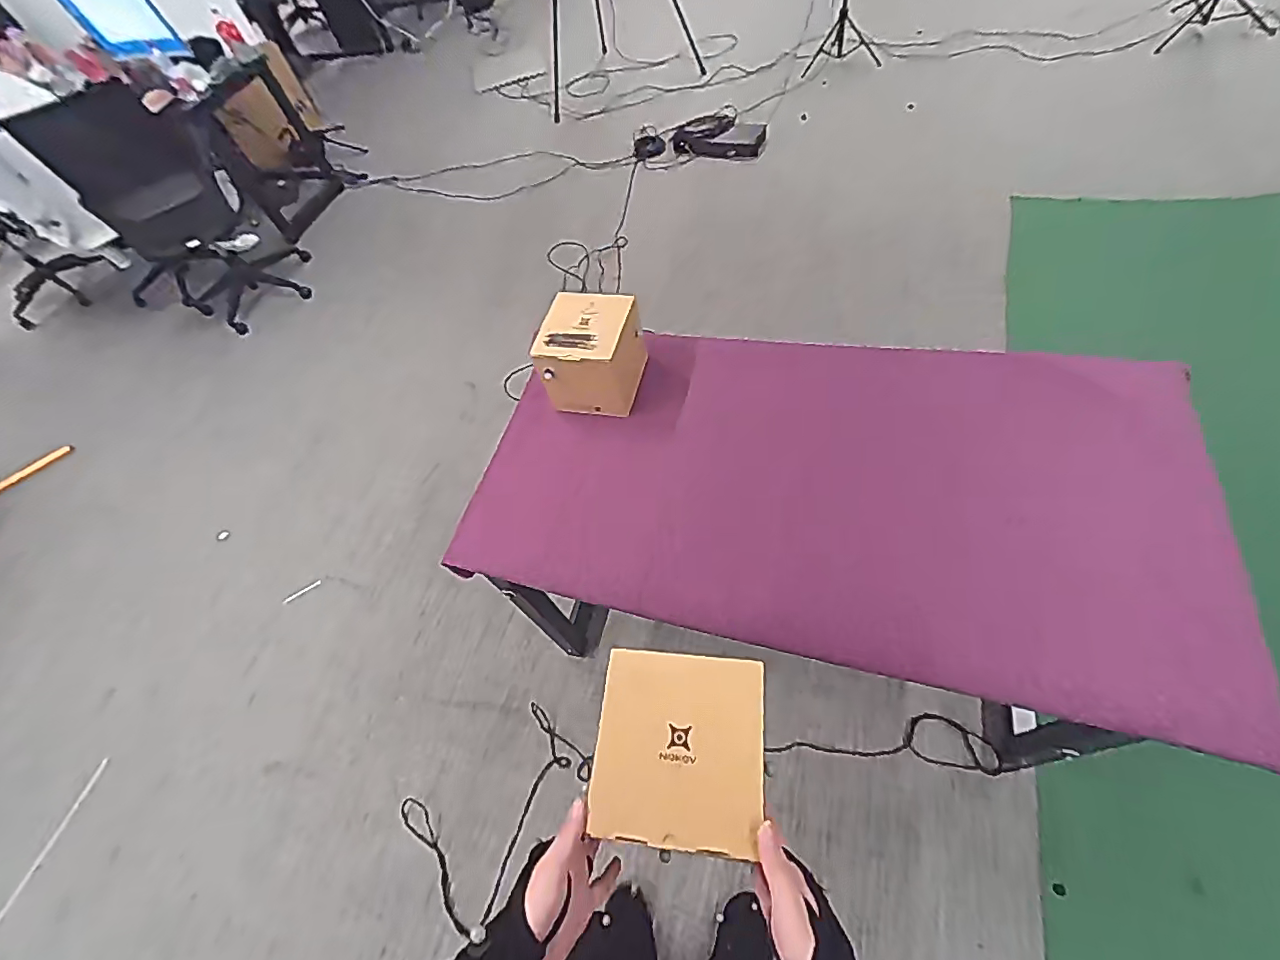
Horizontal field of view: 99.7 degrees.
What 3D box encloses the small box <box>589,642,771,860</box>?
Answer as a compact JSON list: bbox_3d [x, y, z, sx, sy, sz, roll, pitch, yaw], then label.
[{"bbox_3d":[0.050,0.297,0.592,0.168,0.176,0.179,3,57,9],"label":"small box"}]
